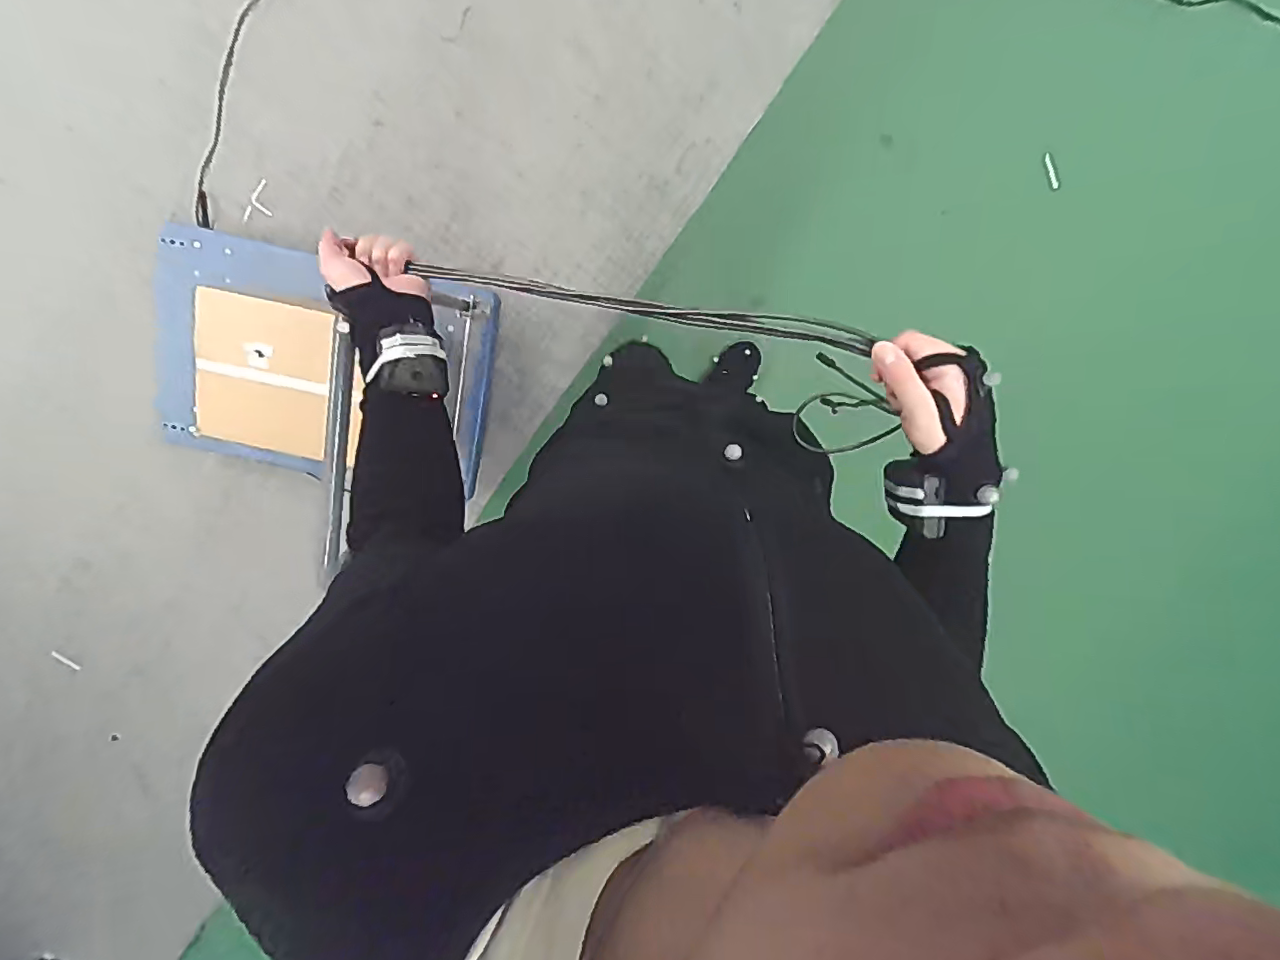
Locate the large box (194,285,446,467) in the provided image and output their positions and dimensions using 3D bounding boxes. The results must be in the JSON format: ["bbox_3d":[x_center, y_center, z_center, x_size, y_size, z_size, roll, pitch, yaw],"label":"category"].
[{"bbox_3d":[-0.713,-0.245,1.256,0.408,0.320,0.320,12,104,1],"label":"large box"}]
